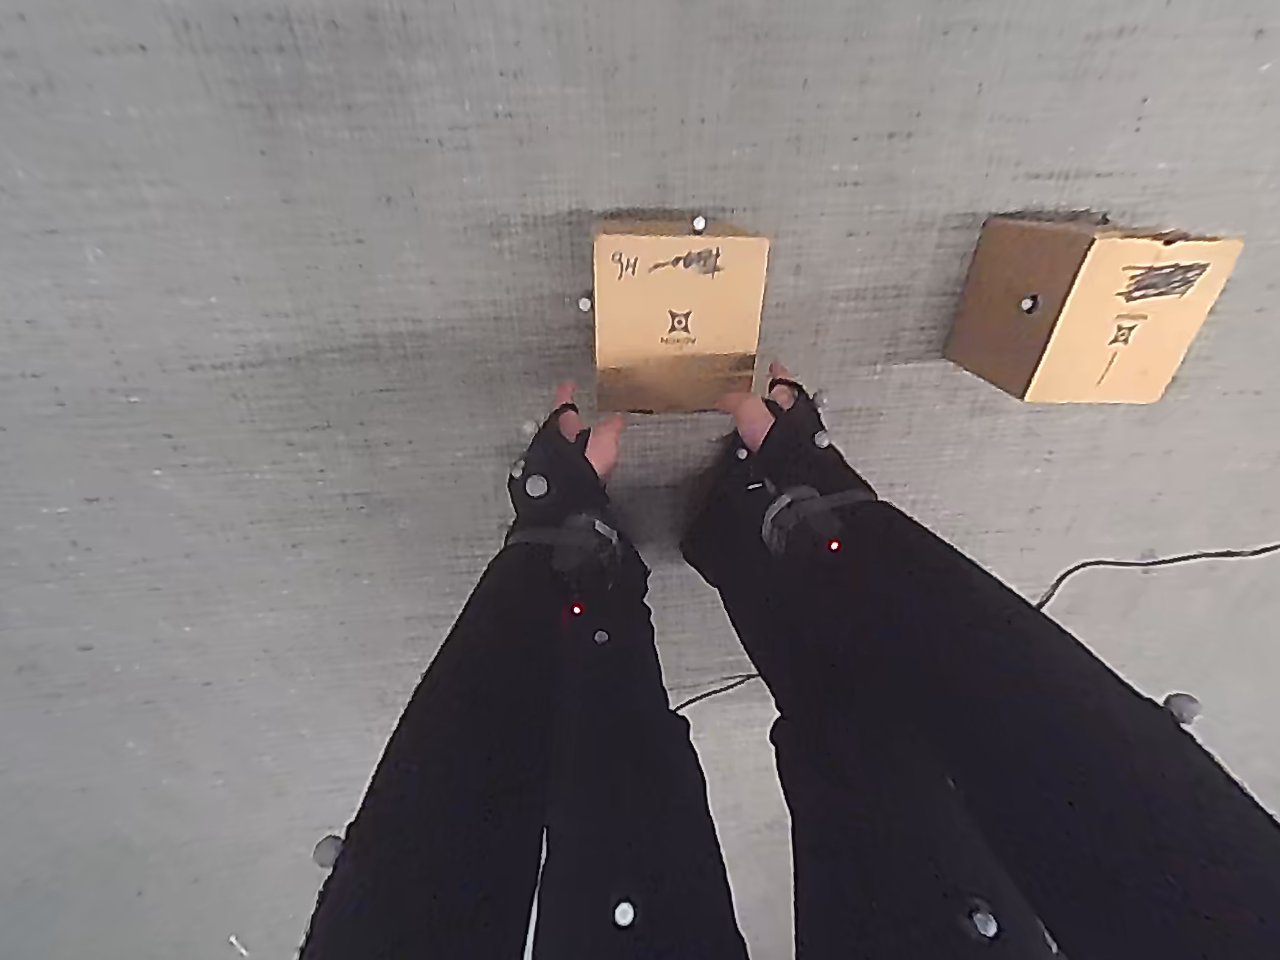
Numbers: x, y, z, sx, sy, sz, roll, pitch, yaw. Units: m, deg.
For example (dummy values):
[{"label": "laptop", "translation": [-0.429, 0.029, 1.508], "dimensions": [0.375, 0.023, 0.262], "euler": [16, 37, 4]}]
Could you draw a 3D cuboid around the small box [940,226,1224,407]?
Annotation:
[{"label": "small box", "translation": [0.496, -0.199, 0.645], "dimensions": [0.168, 0.176, 0.179], "euler": [-1, 122, -4]}]

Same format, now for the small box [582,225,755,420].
[{"label": "small box", "translation": [0.020, -0.182, 0.615], "dimensions": [0.168, 0.176, 0.179], "euler": [-1, 121, -4]}]
